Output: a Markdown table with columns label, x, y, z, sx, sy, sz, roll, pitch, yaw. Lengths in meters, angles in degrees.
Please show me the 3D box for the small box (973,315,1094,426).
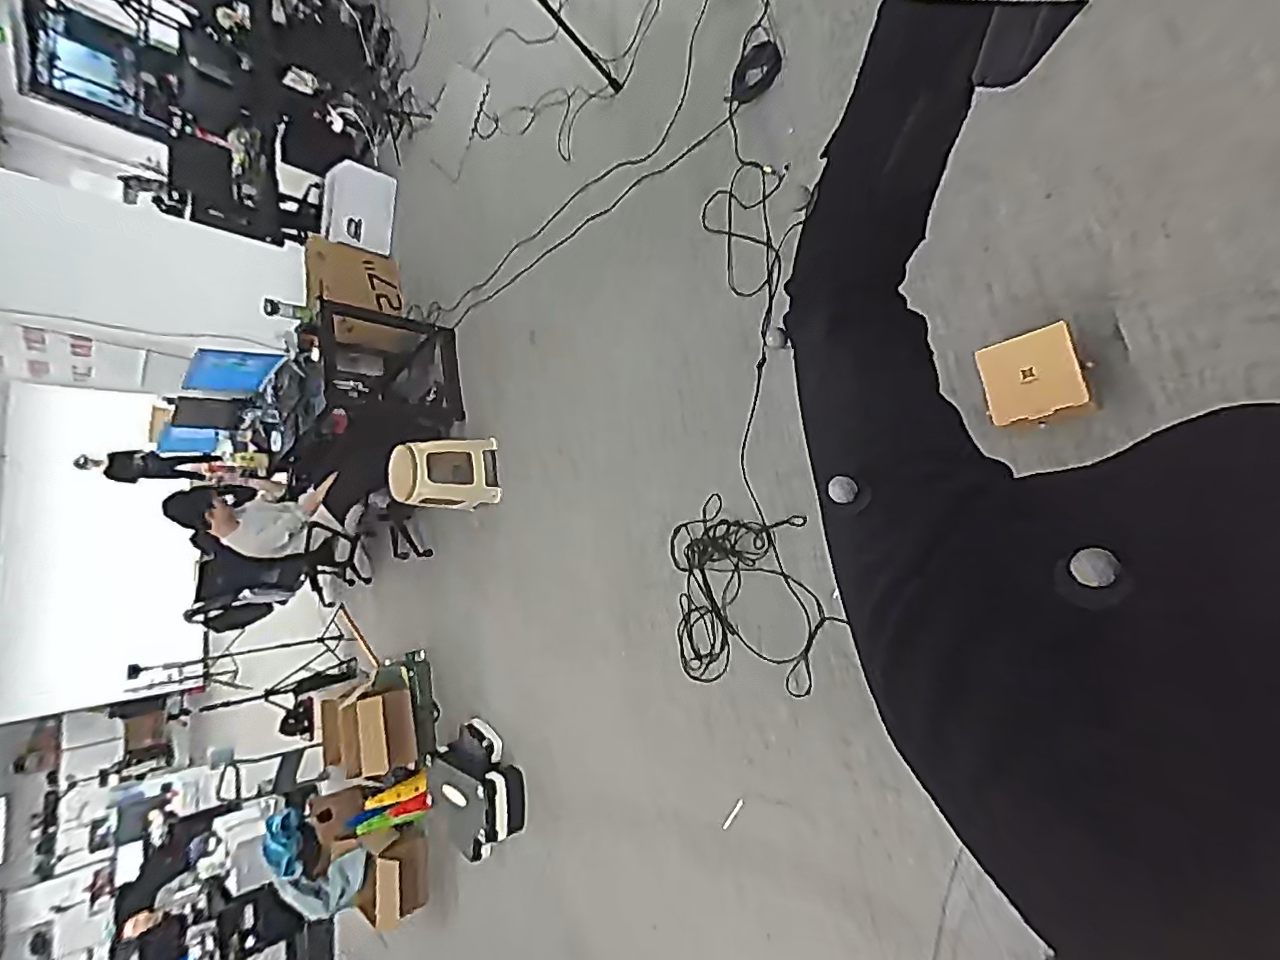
| label | x | y | z | sx | sy | sz | roll | pitch | yaw |
| --- | --- | --- | --- | --- | --- | --- | --- | --- | --- |
| small box | 0.857 | -0.228 | 1.177 | 0.168 | 0.176 | 0.179 | -19 | 75 | 43 |
